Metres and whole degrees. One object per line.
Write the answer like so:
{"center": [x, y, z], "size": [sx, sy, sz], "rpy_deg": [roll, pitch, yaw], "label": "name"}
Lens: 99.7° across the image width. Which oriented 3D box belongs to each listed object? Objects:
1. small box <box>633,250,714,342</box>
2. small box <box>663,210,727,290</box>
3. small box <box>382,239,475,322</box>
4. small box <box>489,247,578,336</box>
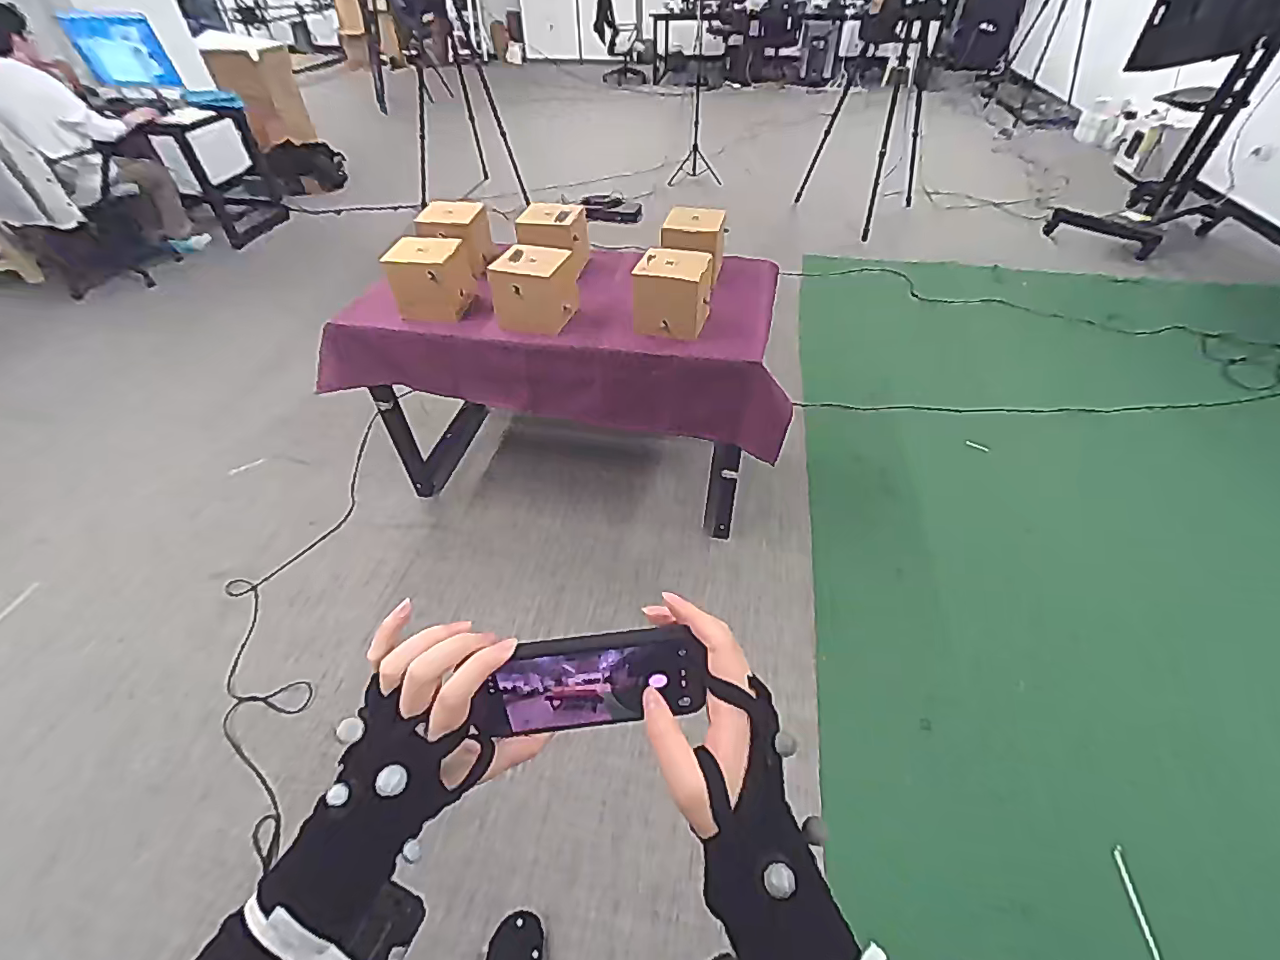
{"center": [0.088, -0.487, 1.439], "size": [0.179, 0.176, 0.168], "rpy_deg": [13, 46, 13], "label": "small box"}
{"center": [0.165, -0.704, 1.652], "size": [0.168, 0.176, 0.179], "rpy_deg": [10, 47, 11], "label": "small box"}
{"center": [-0.586, -0.561, 1.524], "size": [0.179, 0.176, 0.168], "rpy_deg": [4, 45, 3], "label": "small box"}
{"center": [-0.281, -0.511, 1.469], "size": [0.179, 0.176, 0.168], "rpy_deg": [13, 47, 12], "label": "small box"}
